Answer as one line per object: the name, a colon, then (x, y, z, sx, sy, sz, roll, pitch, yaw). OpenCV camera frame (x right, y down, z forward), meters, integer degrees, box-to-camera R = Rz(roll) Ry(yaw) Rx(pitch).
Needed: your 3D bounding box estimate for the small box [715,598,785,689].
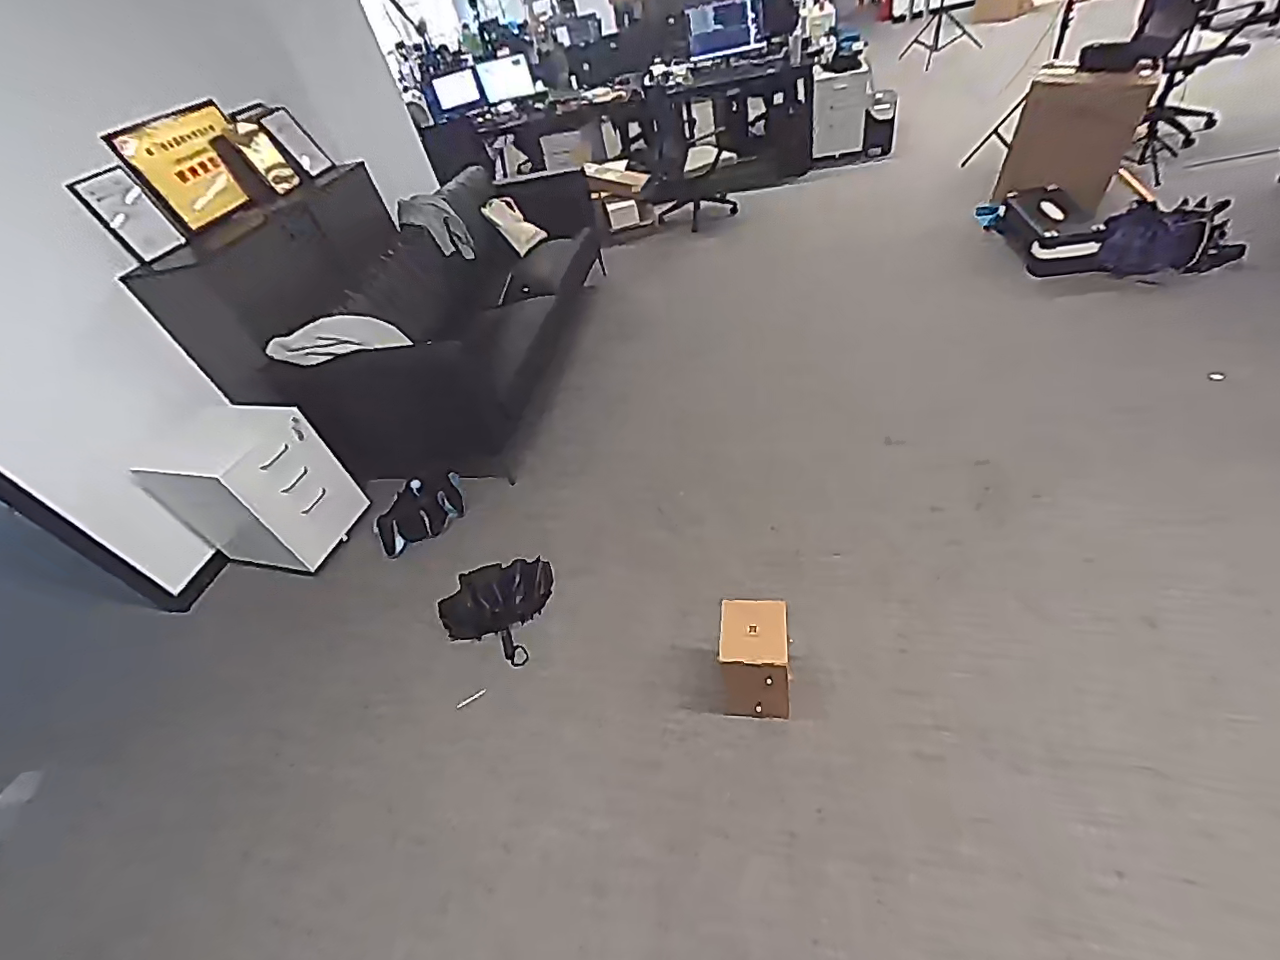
small box: (0.288, 0.425, 1.403, 0.168, 0.176, 0.179, -2, 45, 13)

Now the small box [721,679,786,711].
small box: (0.320, 0.534, 1.520, 0.168, 0.176, 0.179, -3, 47, 13)
